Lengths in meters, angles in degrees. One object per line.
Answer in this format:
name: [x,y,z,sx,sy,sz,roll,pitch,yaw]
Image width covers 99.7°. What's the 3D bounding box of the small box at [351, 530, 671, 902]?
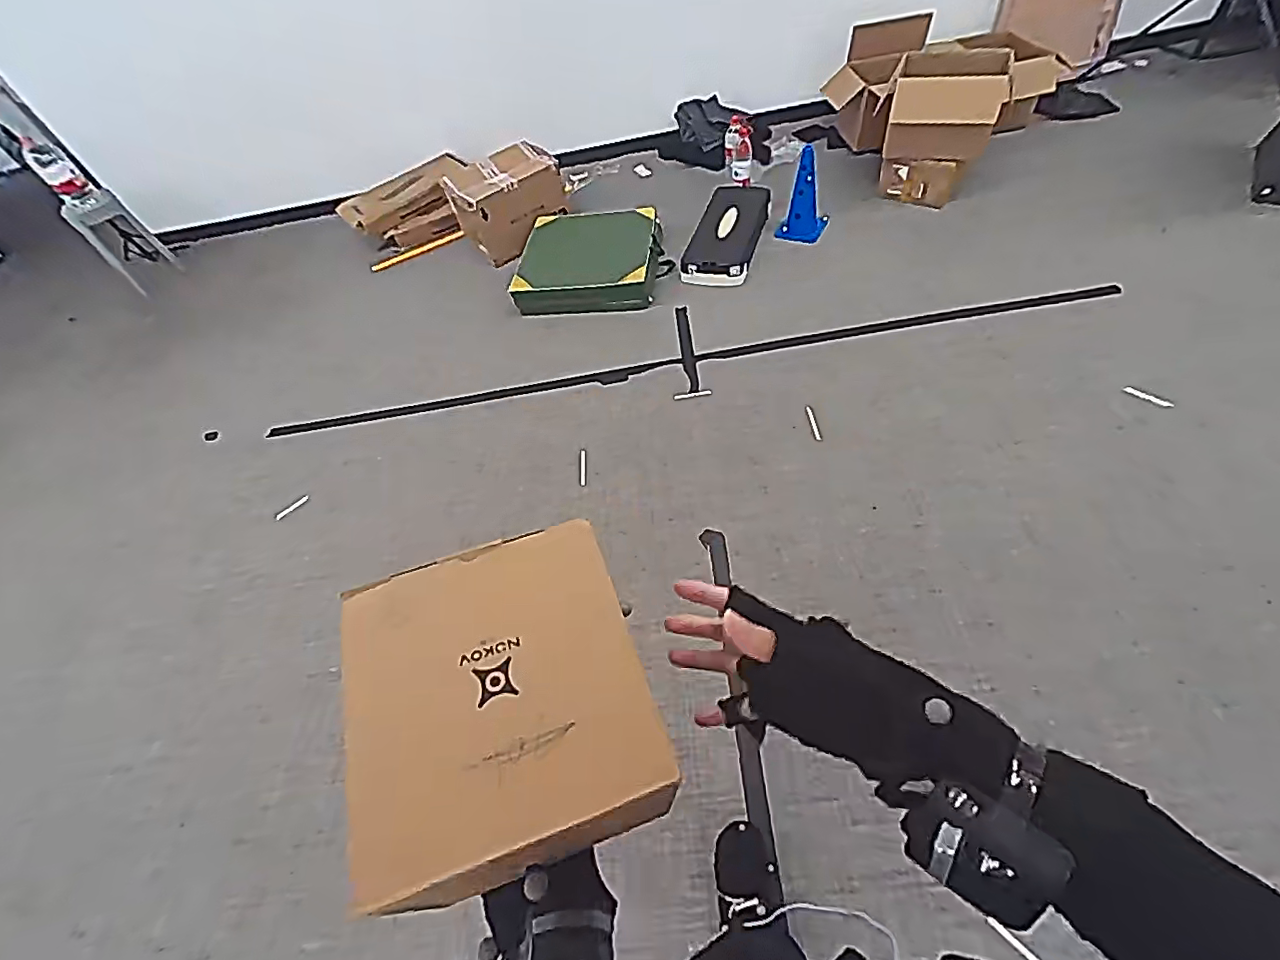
small box: [-0.087,0.169,0.388,0.168,0.176,0.179,-17,55,-11]
